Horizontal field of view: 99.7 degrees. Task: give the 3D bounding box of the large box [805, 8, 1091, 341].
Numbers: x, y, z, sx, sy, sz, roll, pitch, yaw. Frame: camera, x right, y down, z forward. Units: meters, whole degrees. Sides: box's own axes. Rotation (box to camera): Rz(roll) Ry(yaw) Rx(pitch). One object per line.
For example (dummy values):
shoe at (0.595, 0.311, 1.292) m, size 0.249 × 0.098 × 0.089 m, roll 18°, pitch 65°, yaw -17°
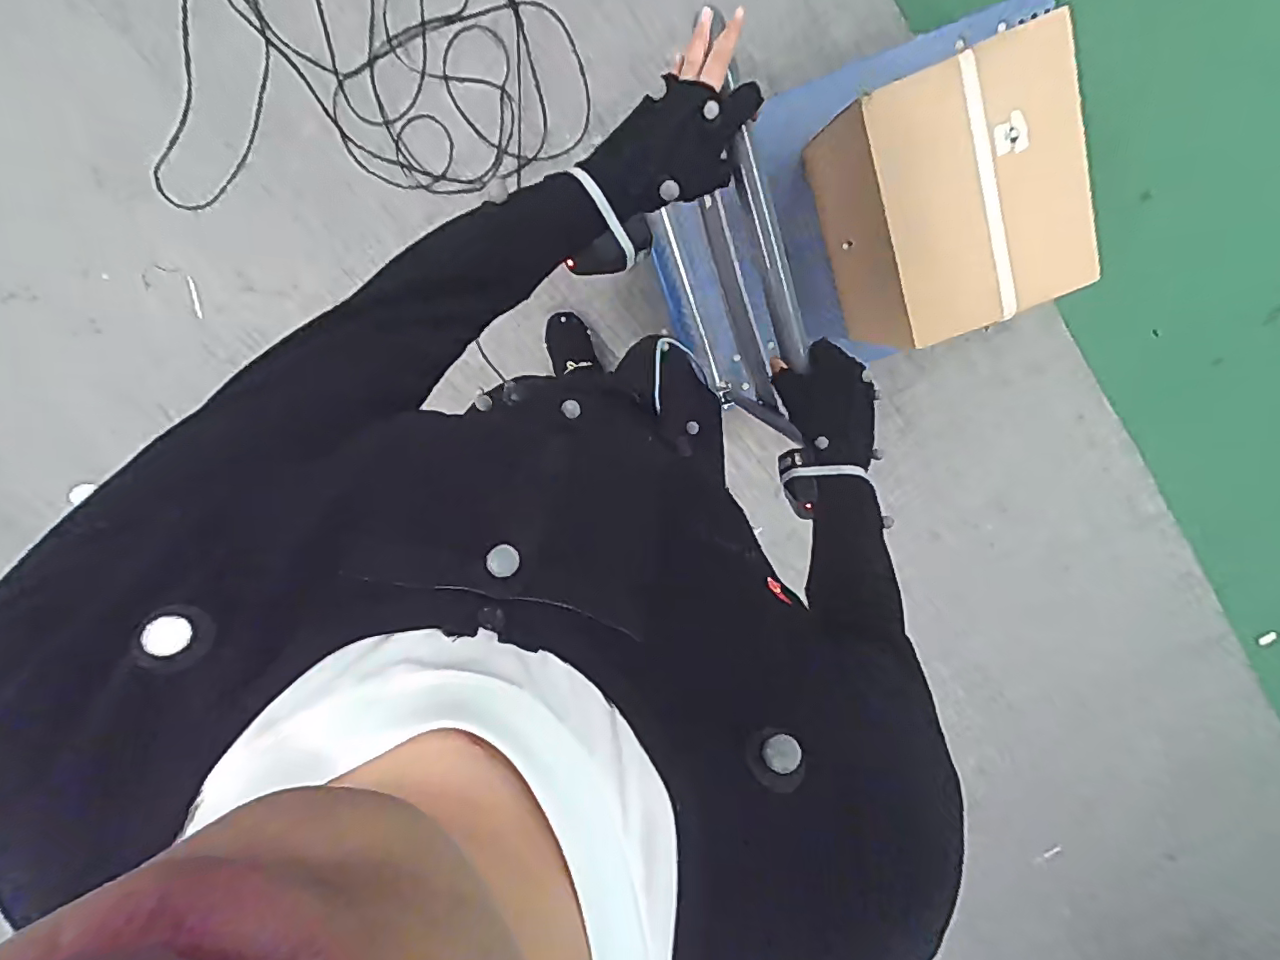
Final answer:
large box at (0.543, -0.513, 1.006) m, size 0.320 × 0.320 × 0.408 m, roll -20°, pitch 107°, yaw 6°
